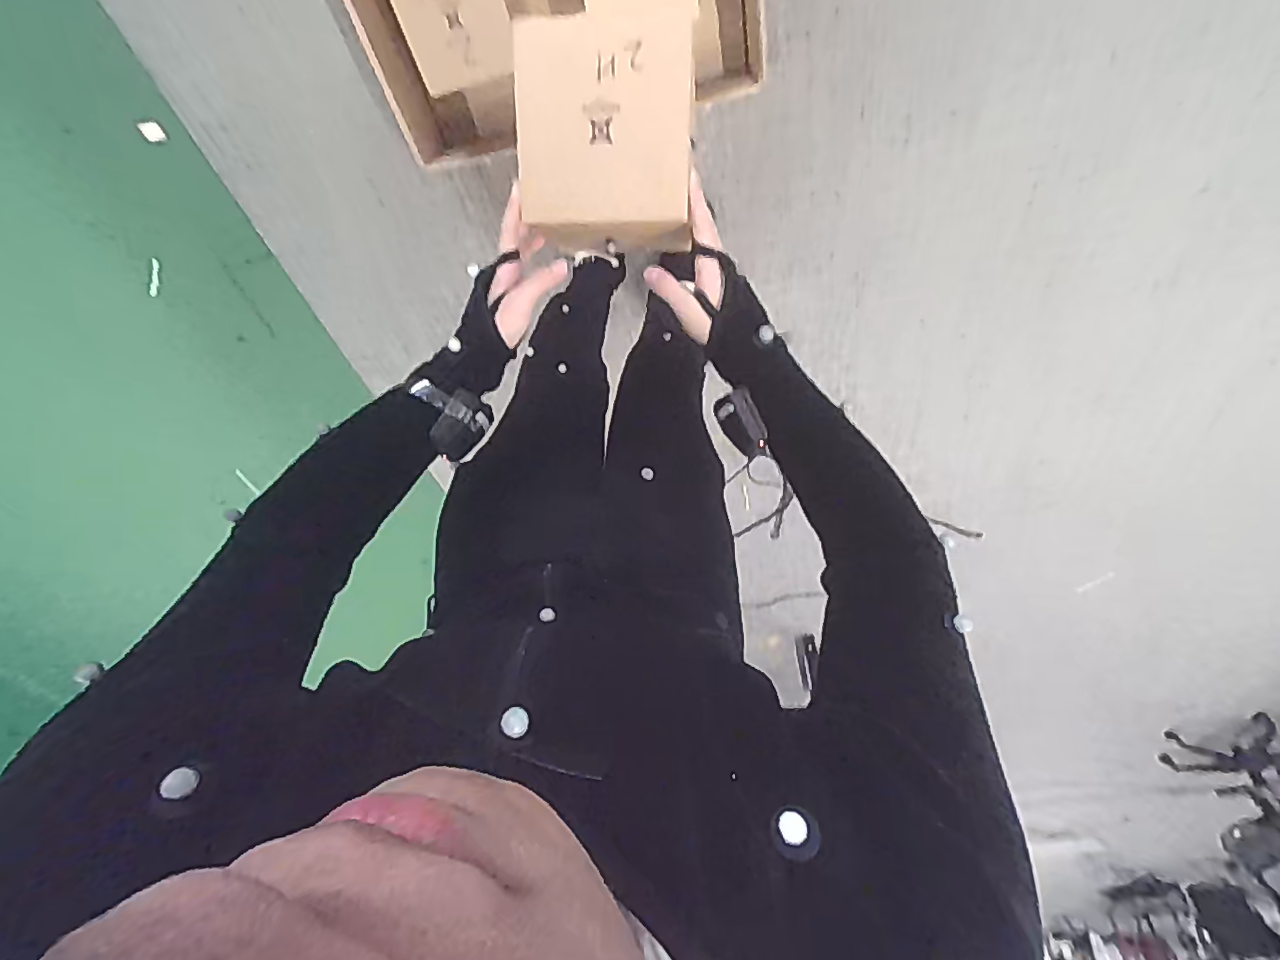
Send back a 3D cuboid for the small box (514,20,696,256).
[{"bbox_3d":[-0.027,-0.345,0.582,0.168,0.176,0.179,3,104,6],"label":"small box"}]
